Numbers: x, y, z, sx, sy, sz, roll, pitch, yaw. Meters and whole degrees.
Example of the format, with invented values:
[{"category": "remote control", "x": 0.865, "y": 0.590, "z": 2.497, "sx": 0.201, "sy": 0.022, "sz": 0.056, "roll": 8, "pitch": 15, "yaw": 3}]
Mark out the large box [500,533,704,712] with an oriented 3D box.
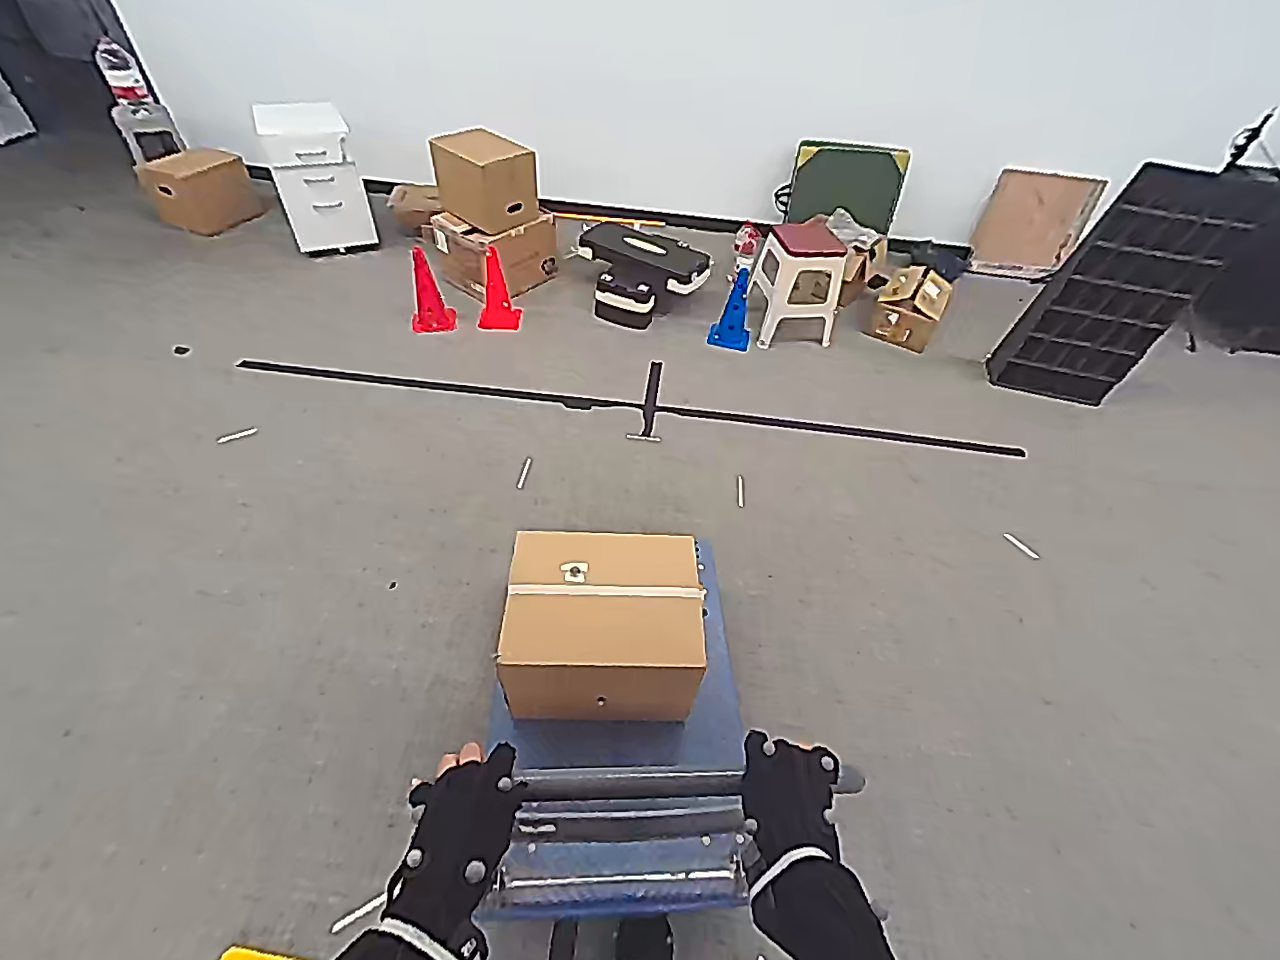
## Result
[{"category": "large box", "x": -0.082, "y": 0.337, "z": 1.256, "sx": 0.408, "sy": 0.320, "sz": 0.320, "roll": 2, "pitch": 48, "yaw": -3}]
